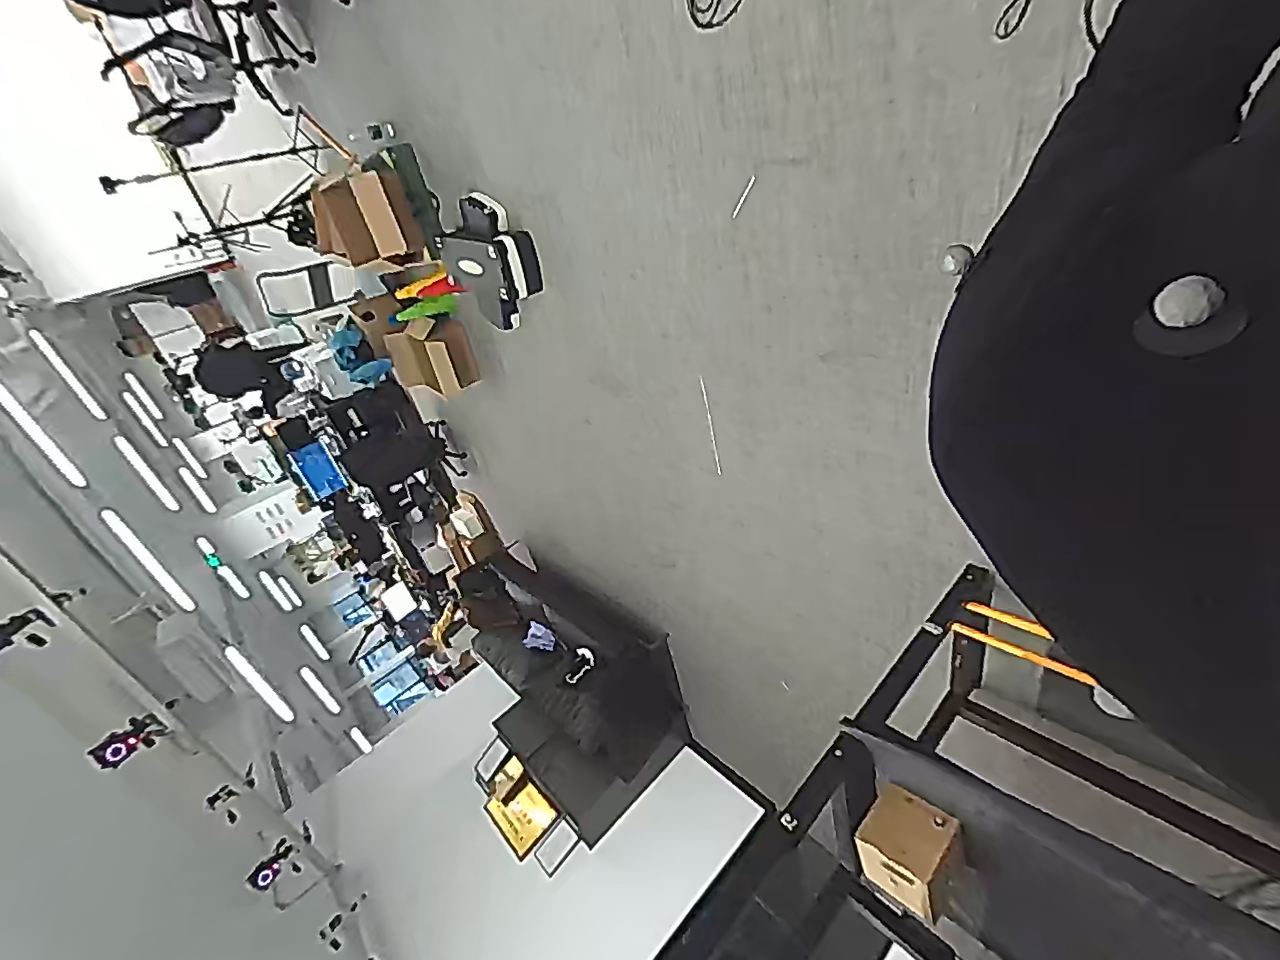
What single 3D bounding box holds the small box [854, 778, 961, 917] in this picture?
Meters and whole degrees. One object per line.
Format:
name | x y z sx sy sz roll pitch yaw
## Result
small box | 0.630 0.850 1.269 0.168 0.176 0.179 14 131 50
